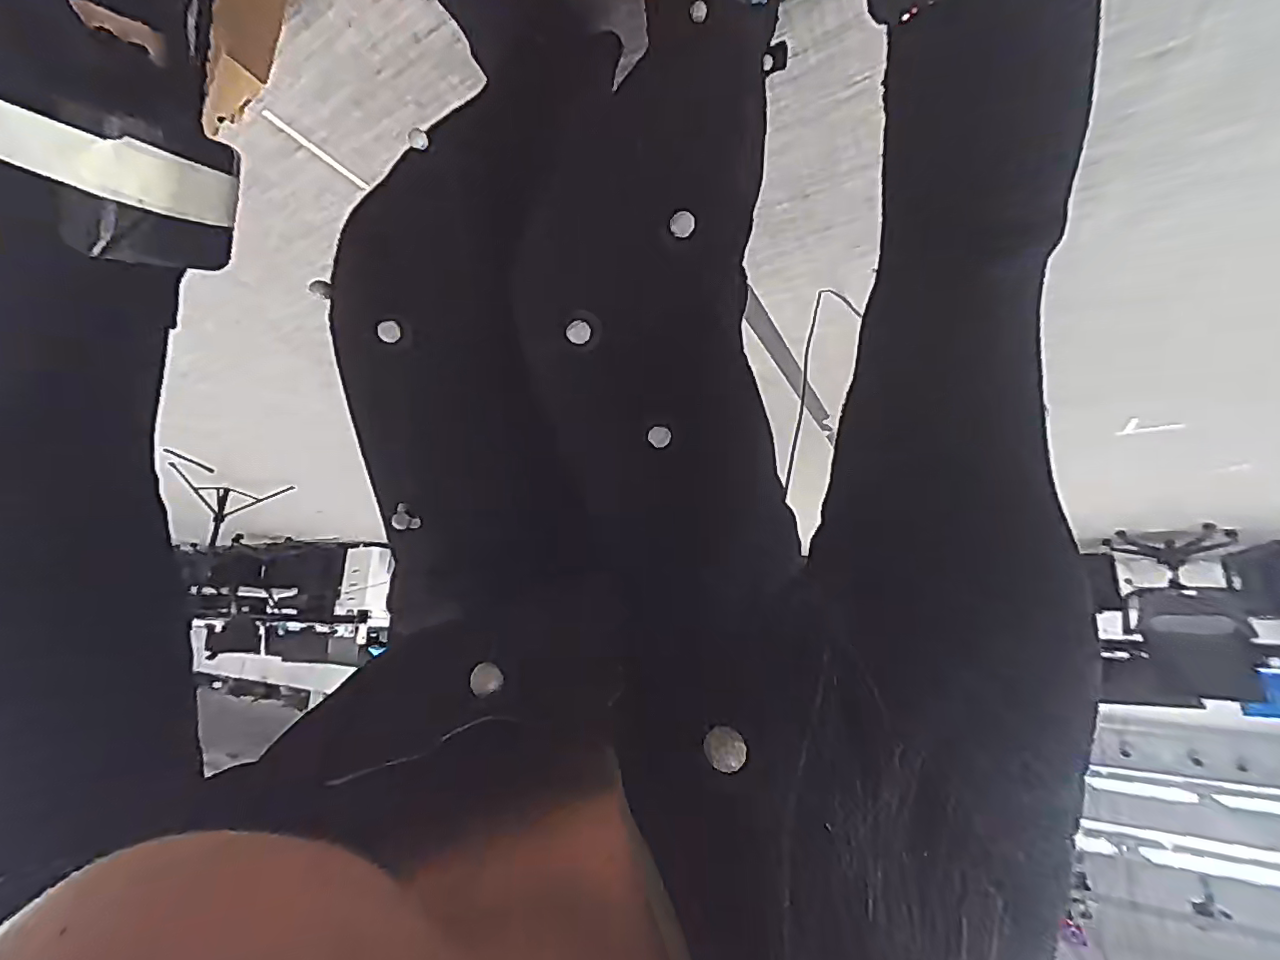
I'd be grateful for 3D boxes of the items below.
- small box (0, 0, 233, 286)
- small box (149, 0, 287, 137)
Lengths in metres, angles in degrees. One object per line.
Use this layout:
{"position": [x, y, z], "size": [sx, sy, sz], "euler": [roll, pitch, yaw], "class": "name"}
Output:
{"position": [-0.470, -0.300, 0.446], "size": [0.168, 0.176, 0.179], "euler": [-10, 163, 44], "class": "small box"}
{"position": [-0.455, -0.457, 0.494], "size": [0.168, 0.176, 0.179], "euler": [-7, 163, 31], "class": "small box"}
